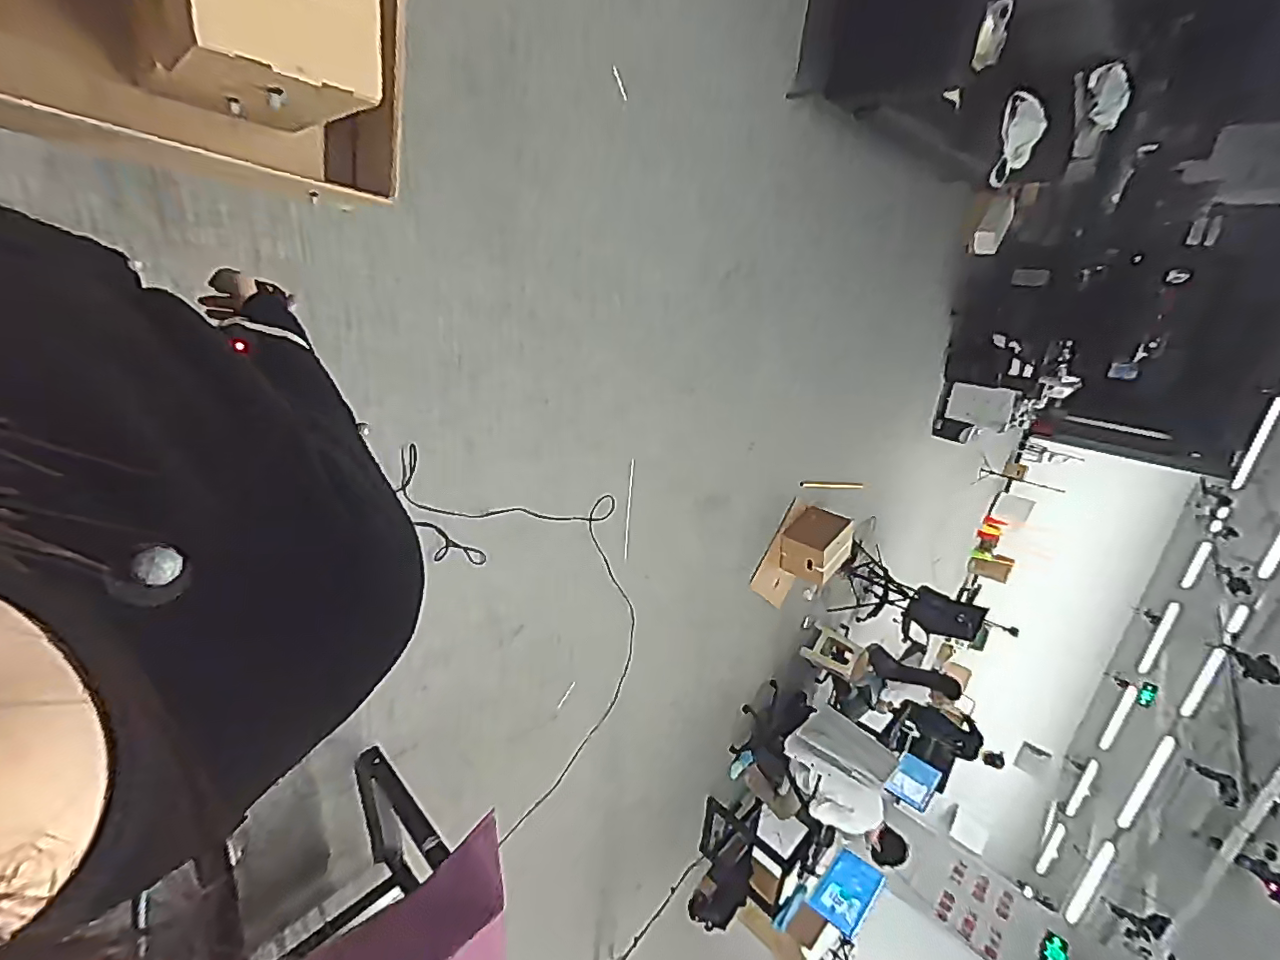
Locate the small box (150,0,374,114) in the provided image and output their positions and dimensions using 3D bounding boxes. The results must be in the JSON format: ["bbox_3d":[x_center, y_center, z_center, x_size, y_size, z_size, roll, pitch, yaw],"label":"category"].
[{"bbox_3d":[-0.397,-0.512,0.568,0.168,0.176,0.179,-12,118,-46],"label":"small box"}]
